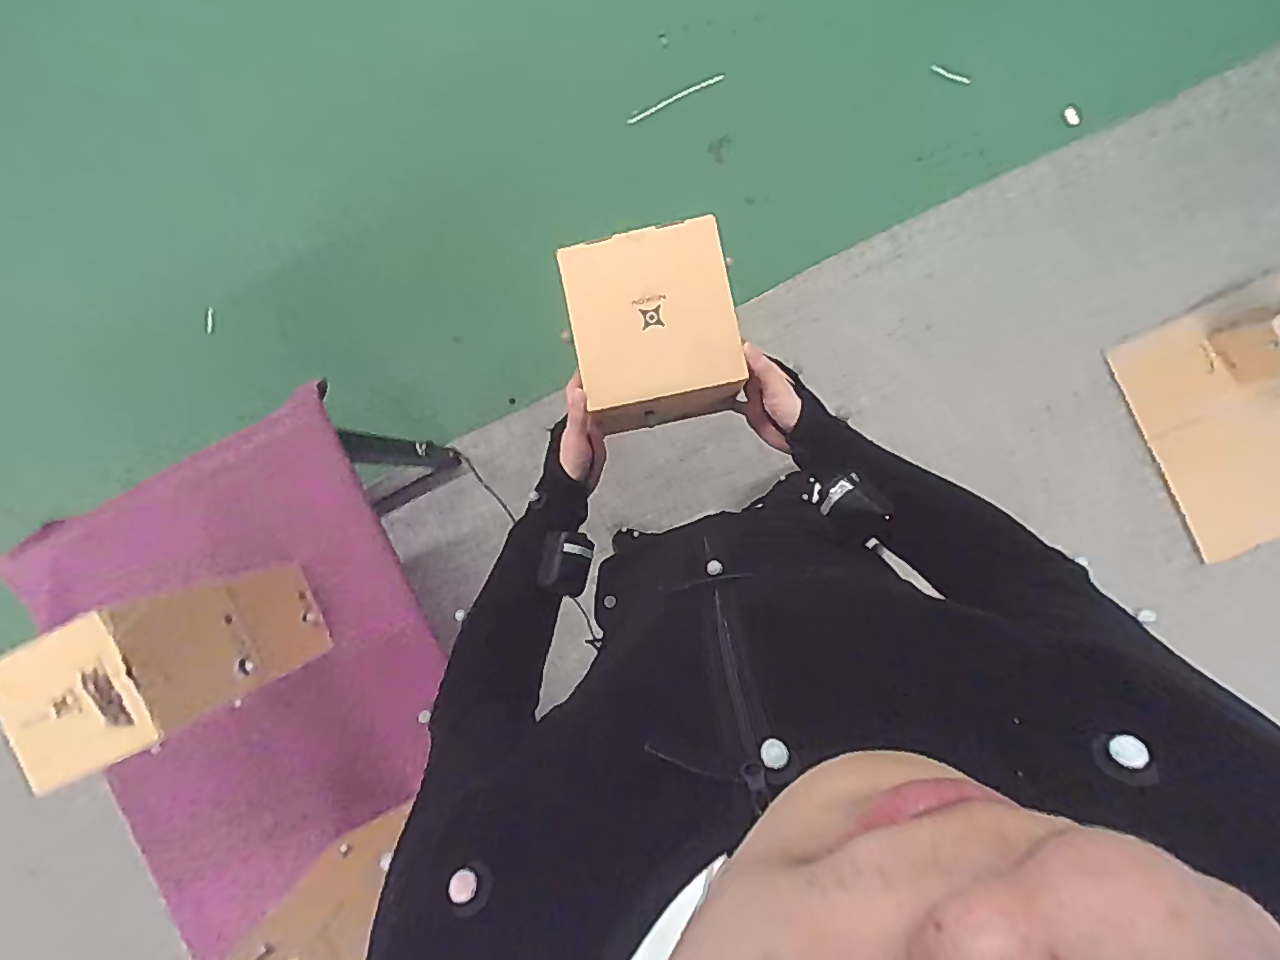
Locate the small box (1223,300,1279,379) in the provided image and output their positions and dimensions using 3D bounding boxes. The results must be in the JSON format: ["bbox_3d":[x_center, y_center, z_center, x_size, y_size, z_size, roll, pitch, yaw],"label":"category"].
[{"bbox_3d":[1.755,-0.394,1.447,0.179,0.176,0.168,-33,88,2],"label":"small box"}]

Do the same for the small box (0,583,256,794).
[{"bbox_3d":[-0.643,0.252,0.697,0.179,0.176,0.168,-25,90,5],"label":"small box"}]

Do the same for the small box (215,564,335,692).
[{"bbox_3d":[-0.637,0.251,0.860,0.179,0.176,0.168,-25,90,3],"label":"small box"}]

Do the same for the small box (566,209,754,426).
[{"bbox_3d":[0.026,-0.165,0.614,0.168,0.176,0.179,-11,85,3],"label":"small box"}]
